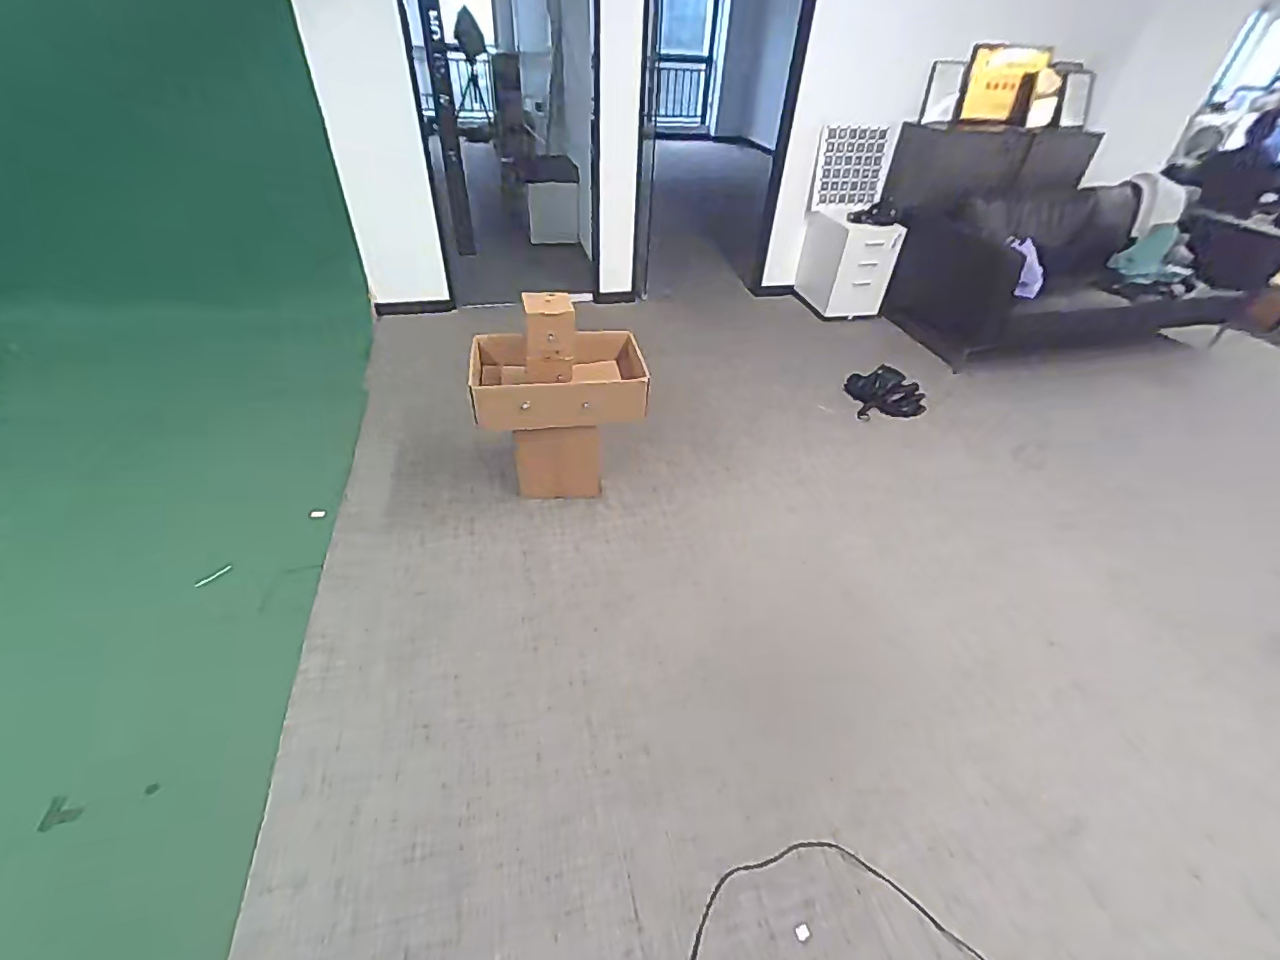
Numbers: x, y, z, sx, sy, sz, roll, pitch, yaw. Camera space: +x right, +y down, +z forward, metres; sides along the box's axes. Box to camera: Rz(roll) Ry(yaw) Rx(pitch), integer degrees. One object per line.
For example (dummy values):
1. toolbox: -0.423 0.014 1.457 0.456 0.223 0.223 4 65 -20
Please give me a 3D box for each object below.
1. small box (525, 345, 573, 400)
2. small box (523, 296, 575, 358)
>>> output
1. small box: -0.339 -0.410 2.020 0.168 0.176 0.179 -3 38 -13
2. small box: -0.323 -0.542 1.923 0.168 0.176 0.179 -5 41 -14
